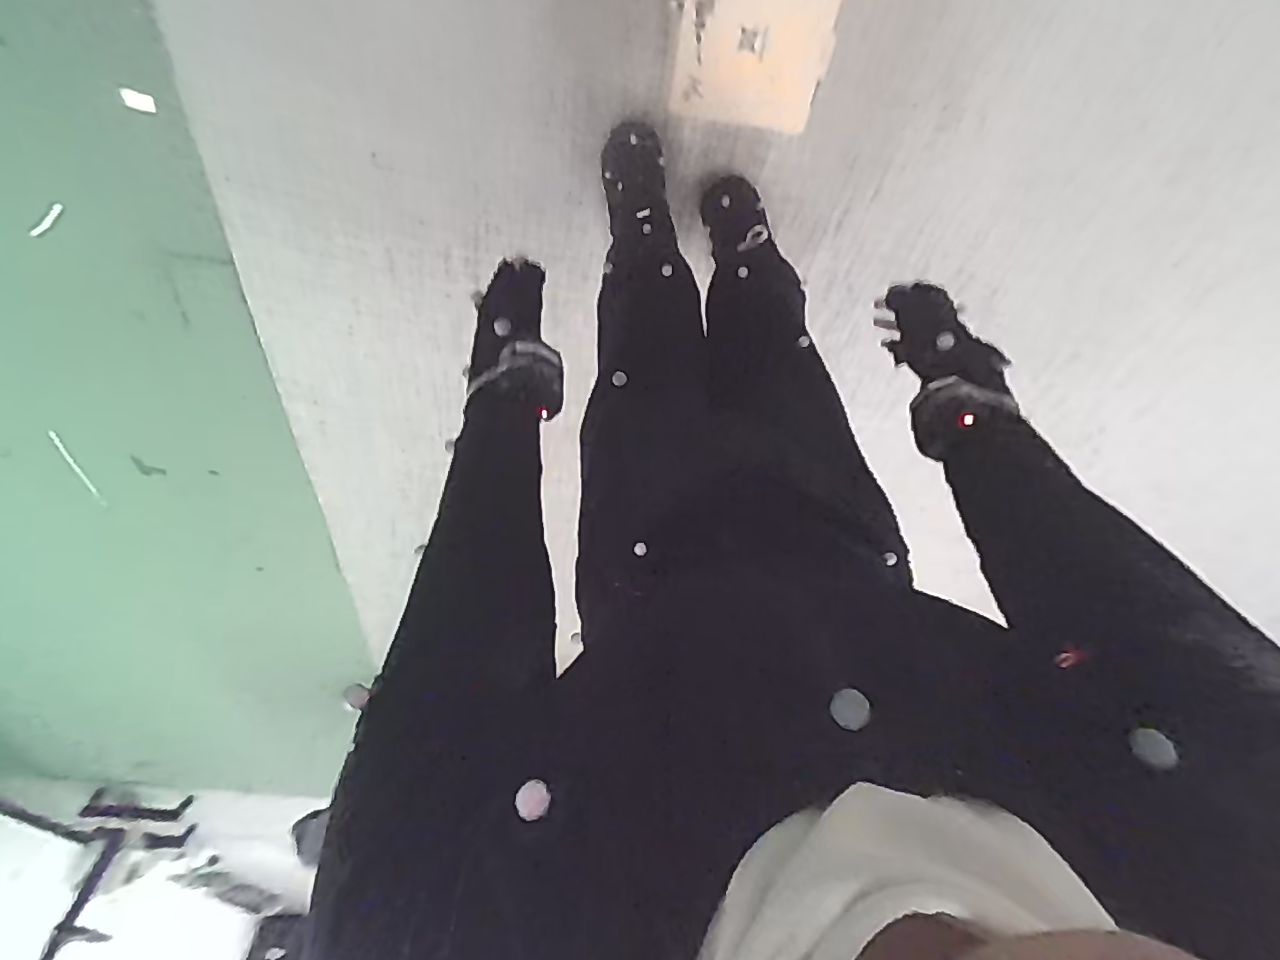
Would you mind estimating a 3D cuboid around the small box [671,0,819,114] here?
[{"bbox_3d":[0.147,-0.670,0.799,0.179,0.176,0.168,9,134,-4],"label":"small box"}]
